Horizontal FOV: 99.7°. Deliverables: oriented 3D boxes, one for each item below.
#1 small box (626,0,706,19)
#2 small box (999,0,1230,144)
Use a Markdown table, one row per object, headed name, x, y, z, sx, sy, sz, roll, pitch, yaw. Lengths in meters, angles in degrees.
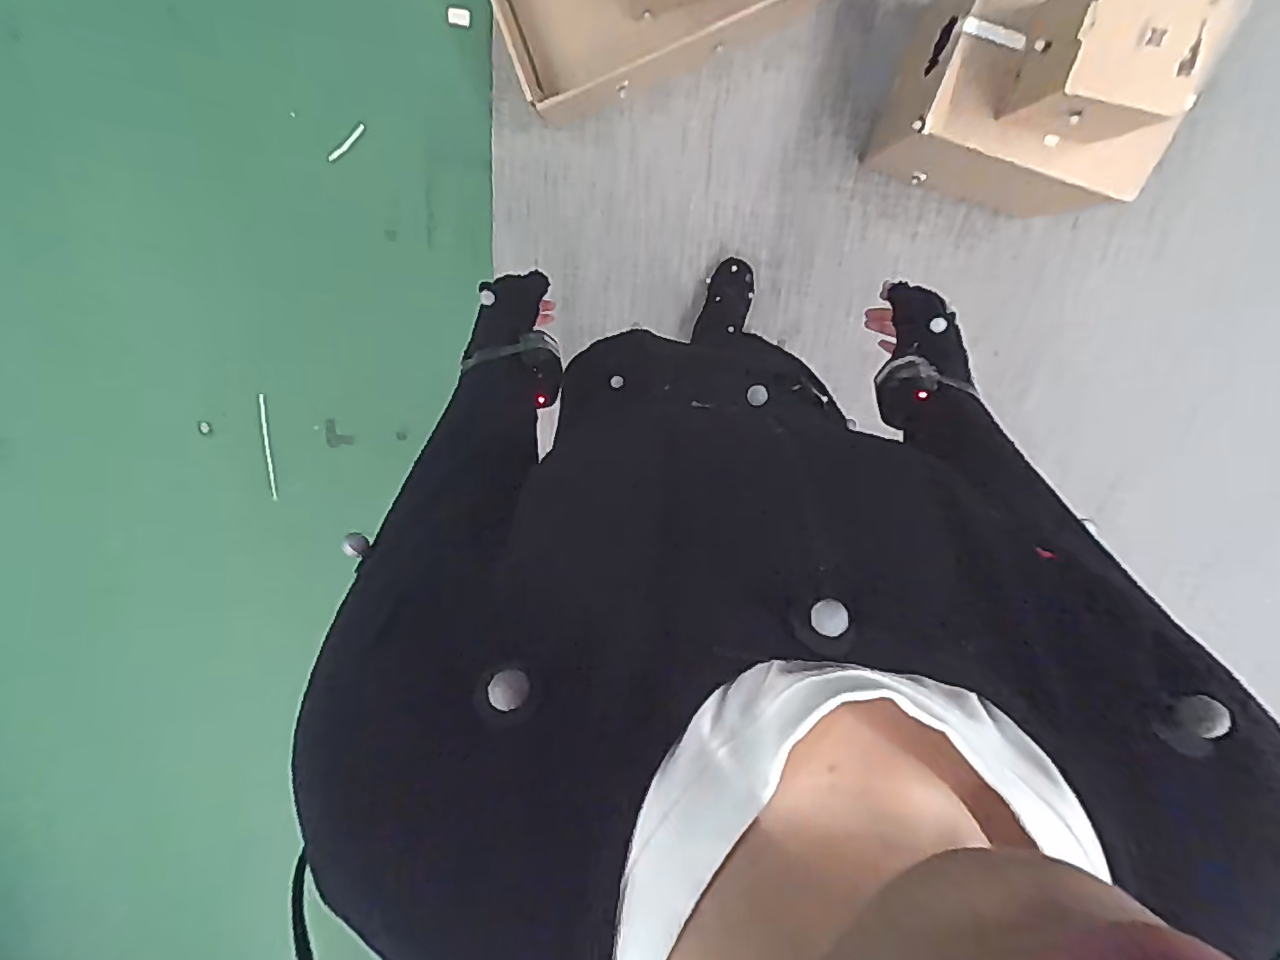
| name | x | y | z | sx | sy | sz | roll | pitch | yaw |
| --- | --- | --- | --- | --- | --- | --- | --- | --- | --- |
| small box | 0.038 | -0.999 | 0.997 | 0.168 | 0.176 | 0.179 | -10 | 107 | 8 |
| small box | 0.689 | -0.626 | 0.808 | 0.179 | 0.176 | 0.168 | 12 | 111 | 0 |
